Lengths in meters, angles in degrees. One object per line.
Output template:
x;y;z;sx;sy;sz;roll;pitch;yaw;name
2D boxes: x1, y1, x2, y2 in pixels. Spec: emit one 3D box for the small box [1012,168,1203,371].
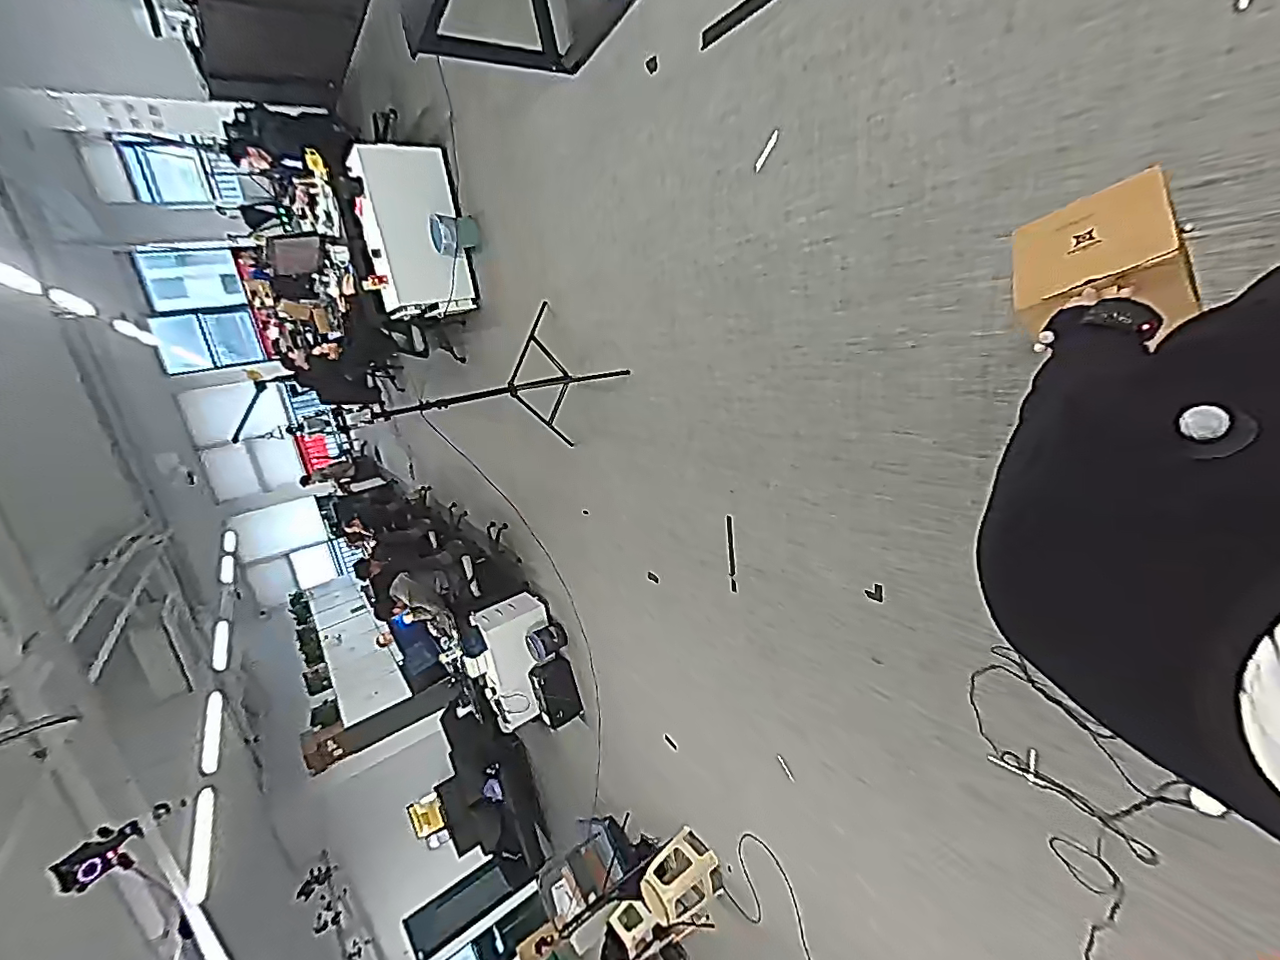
0.645;-0.275;0.754;0.176;0.179;0.168;38;147;-28;small box
